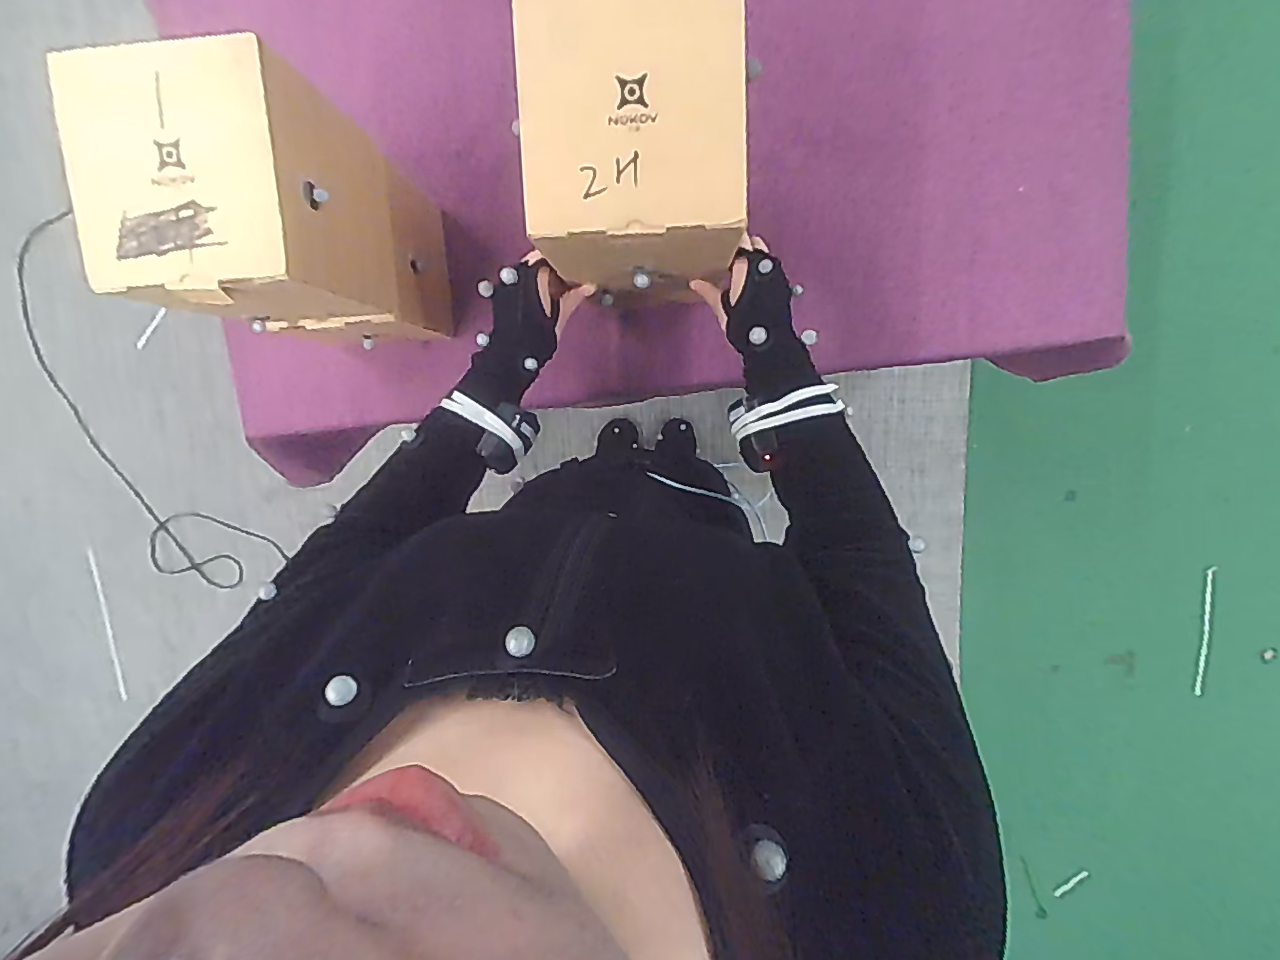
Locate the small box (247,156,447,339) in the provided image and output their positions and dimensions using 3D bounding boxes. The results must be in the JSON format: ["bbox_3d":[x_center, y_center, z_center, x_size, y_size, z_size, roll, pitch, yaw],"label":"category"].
[{"bbox_3d":[-0.348,-0.265,0.653,0.168,0.176,0.179,-3,99,2],"label":"small box"}]

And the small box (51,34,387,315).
[{"bbox_3d":[-0.350,-0.249,0.489,0.168,0.176,0.179,-2,97,2],"label":"small box"}]

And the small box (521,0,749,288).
[{"bbox_3d":[-0.002,-0.277,0.473,0.168,0.176,0.179,0,98,2],"label":"small box"}]
